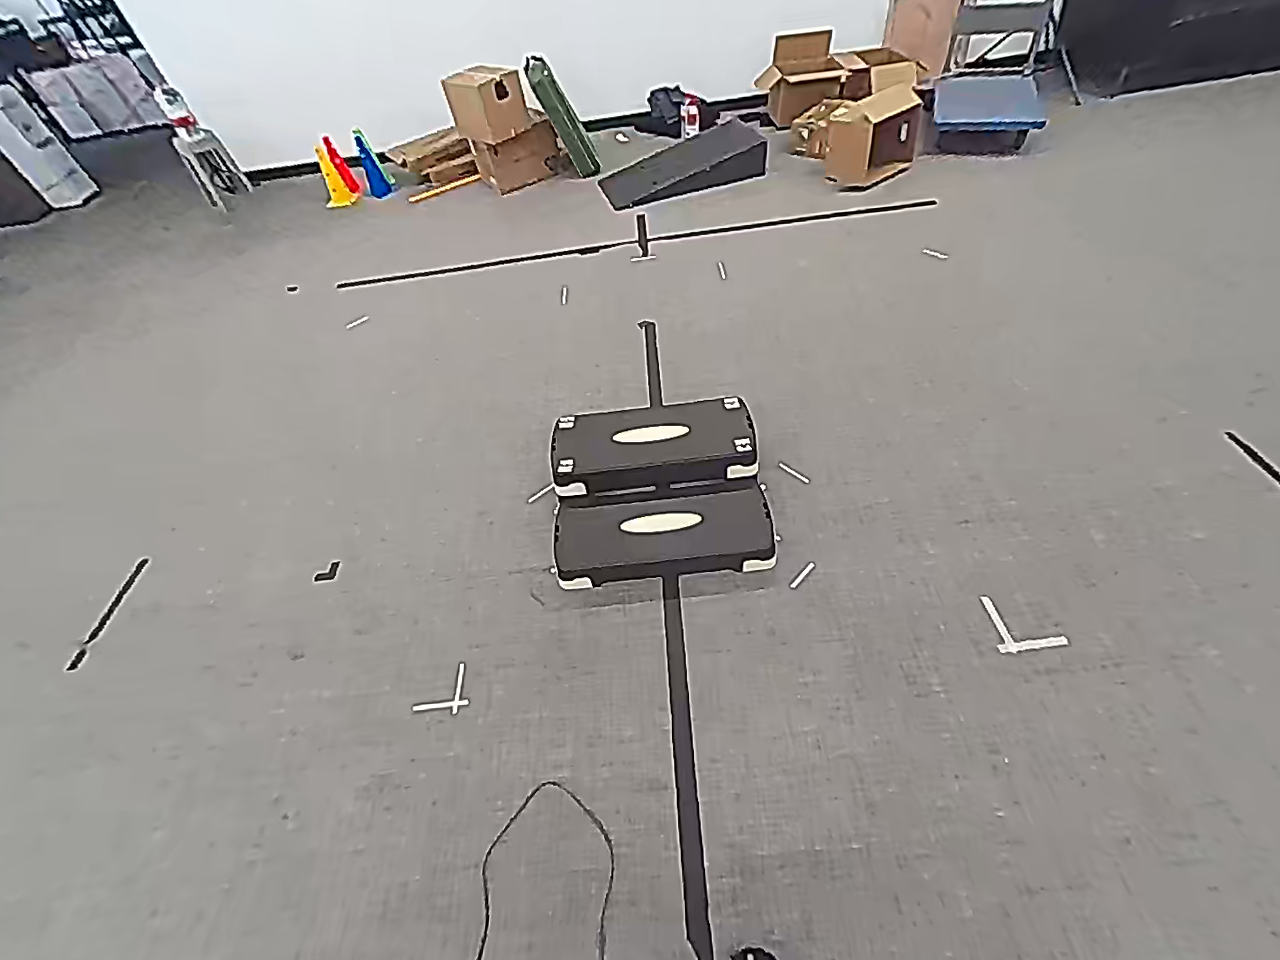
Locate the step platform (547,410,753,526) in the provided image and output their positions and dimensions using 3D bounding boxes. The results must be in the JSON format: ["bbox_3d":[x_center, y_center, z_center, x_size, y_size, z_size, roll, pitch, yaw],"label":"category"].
[{"bbox_3d":[0.032,-0.046,1.822,0.684,0.204,0.286,-7,49,2],"label":"step platform"}]
